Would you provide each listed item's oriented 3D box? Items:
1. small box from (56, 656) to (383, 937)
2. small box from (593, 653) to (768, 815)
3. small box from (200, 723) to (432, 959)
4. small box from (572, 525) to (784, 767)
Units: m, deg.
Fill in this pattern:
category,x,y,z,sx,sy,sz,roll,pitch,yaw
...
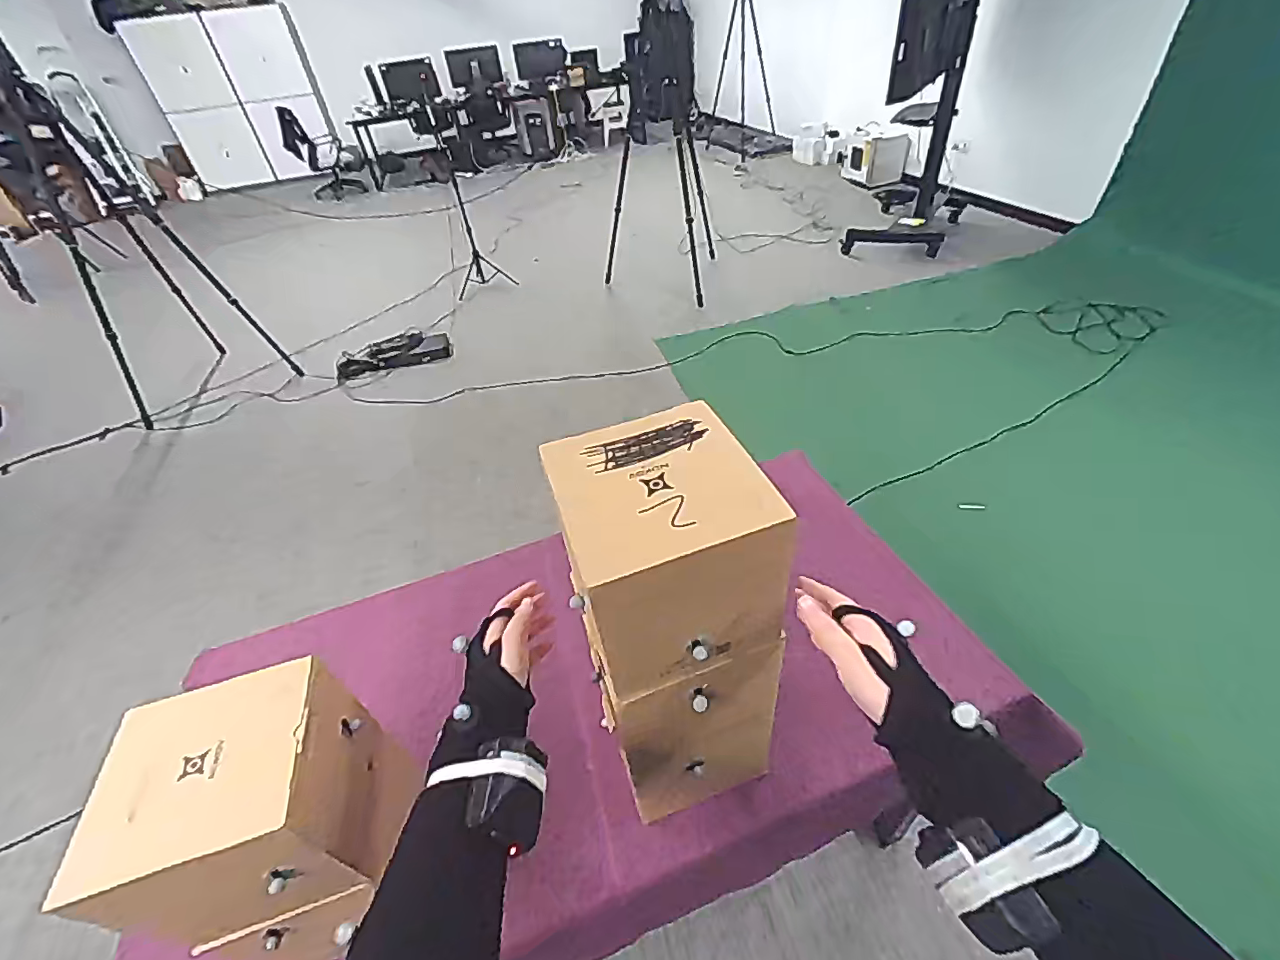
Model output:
category,x,y,z,sx,sy,sz,roll,pitch,yaw
small box,-0.375,0.309,0.532,0.179,0.176,0.168,-16,42,-8
small box,0.053,0.306,0.715,0.179,0.176,0.168,-17,43,-10
small box,-0.359,0.431,0.641,0.168,0.176,0.179,-17,42,-9
small box,0.039,0.185,0.607,0.179,0.176,0.168,-18,43,-10
